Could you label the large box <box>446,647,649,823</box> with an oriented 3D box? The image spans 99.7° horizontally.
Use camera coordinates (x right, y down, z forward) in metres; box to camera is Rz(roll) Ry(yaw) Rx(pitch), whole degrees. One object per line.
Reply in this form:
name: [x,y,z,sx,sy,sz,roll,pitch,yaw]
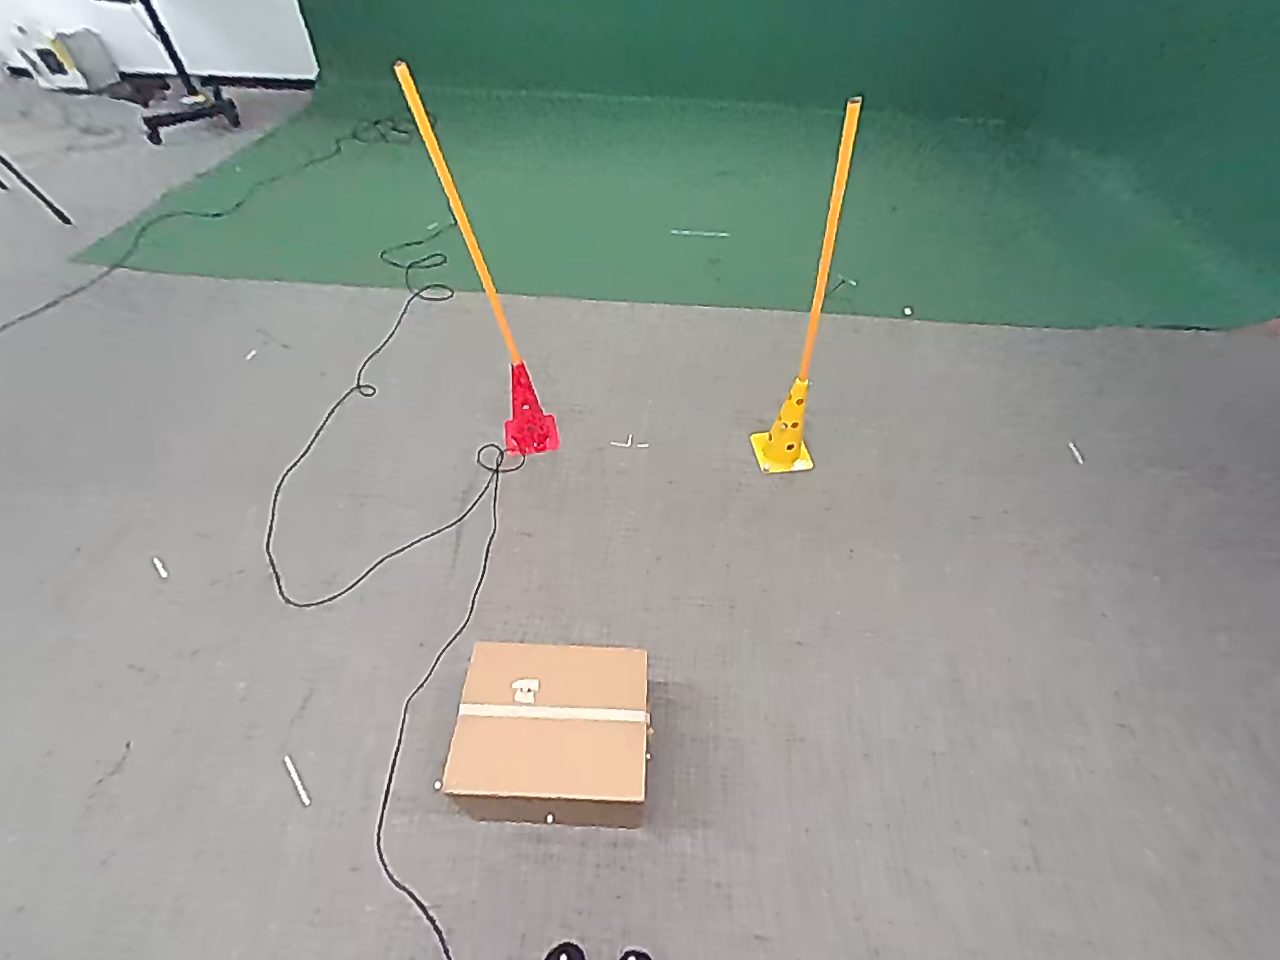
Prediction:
large box: [-0.181,0.604,1.272,0.408,0.320,0.320,2,49,1]
